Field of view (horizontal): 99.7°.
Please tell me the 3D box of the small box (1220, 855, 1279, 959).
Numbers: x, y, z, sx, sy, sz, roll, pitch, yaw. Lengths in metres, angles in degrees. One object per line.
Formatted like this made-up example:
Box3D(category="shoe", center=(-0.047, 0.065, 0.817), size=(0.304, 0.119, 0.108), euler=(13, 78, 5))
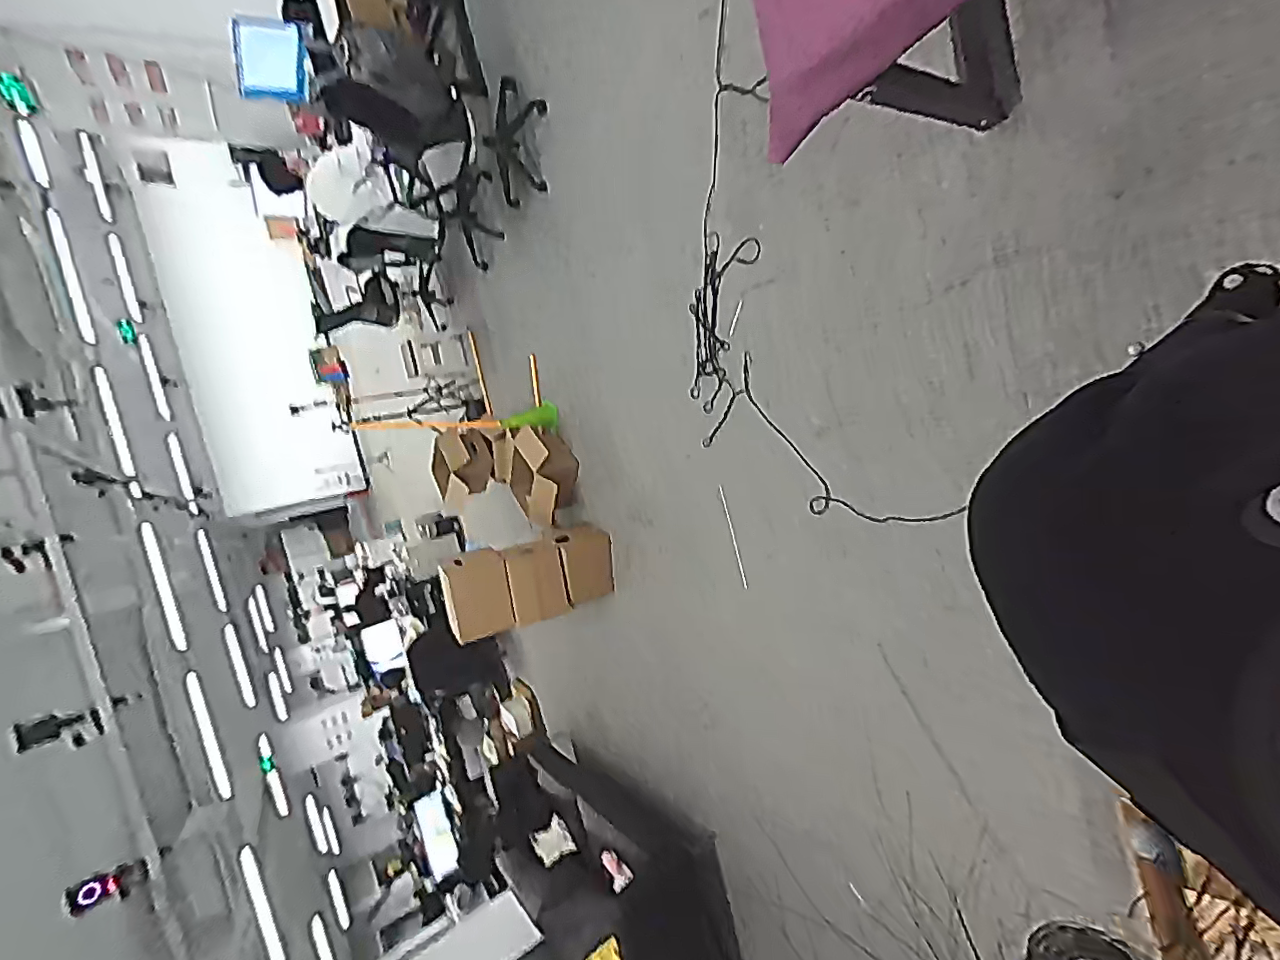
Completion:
Box3D(category="small box", center=(1.313, 0.887, 1.066), size=(0.179, 0.176, 0.168), euler=(-26, 80, 58))
